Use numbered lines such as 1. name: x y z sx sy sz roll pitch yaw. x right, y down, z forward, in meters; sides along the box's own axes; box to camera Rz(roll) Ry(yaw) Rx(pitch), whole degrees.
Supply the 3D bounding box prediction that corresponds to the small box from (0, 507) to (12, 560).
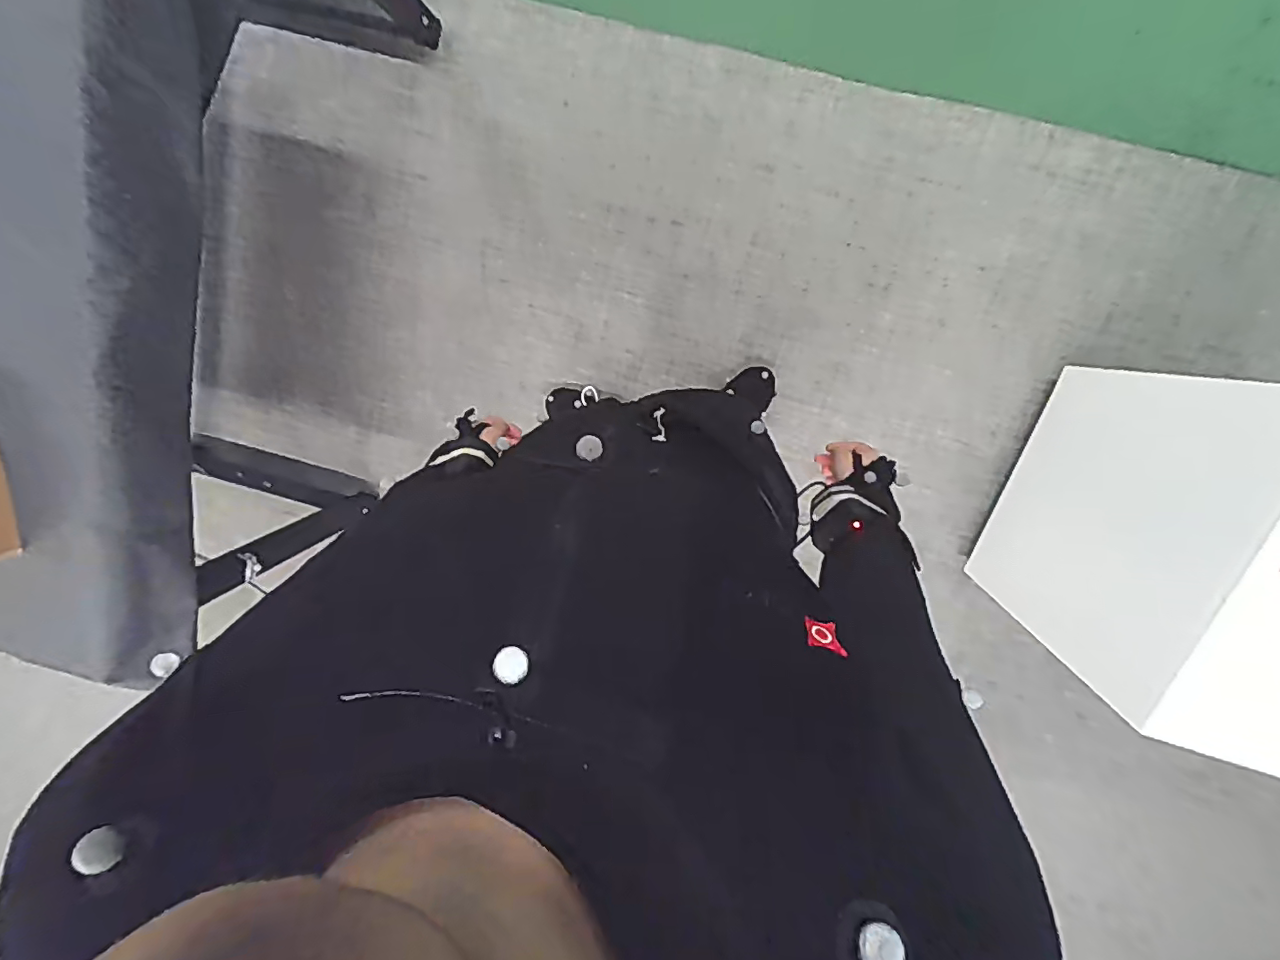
1. small box: -0.946 0.039 0.661 0.168 0.176 0.179 3 104 7
